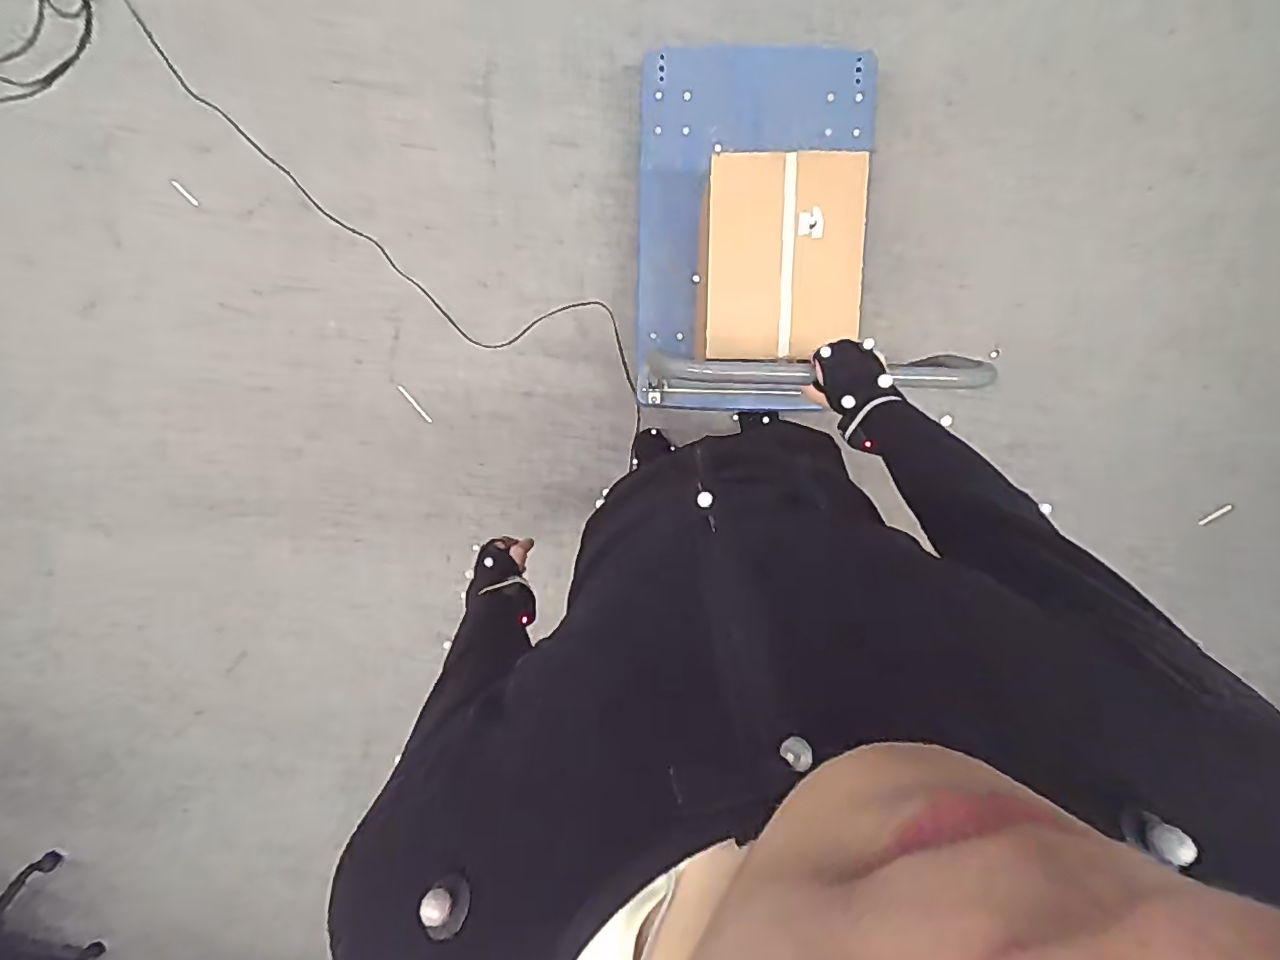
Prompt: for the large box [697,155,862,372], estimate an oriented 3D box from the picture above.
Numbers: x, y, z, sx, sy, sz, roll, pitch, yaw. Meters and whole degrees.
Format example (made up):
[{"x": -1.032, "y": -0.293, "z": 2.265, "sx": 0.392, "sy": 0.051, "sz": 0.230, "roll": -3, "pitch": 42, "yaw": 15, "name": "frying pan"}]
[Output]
[{"x": 0.294, "y": -0.464, "z": 1.243, "sx": 0.320, "sy": 0.320, "sz": 0.408, "roll": 1, "pitch": 97, "yaw": 1, "name": "large box"}]
